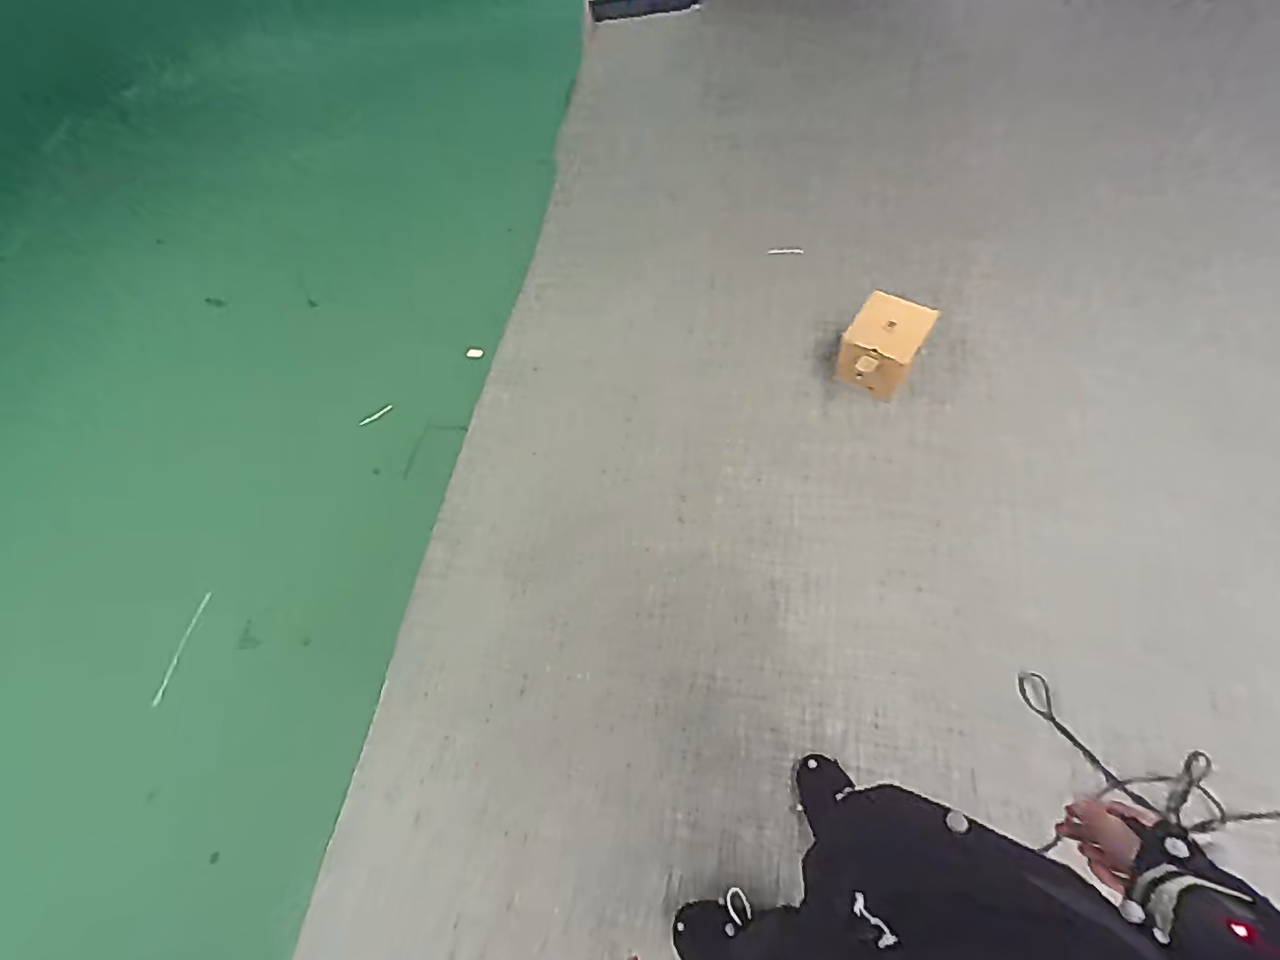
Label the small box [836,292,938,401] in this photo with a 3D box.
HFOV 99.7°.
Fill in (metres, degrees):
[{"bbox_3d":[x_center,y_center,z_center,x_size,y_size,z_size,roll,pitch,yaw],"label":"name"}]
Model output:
[{"bbox_3d":[0.621,-0.336,1.383,0.168,0.176,0.179,30,75,22],"label":"small box"}]
